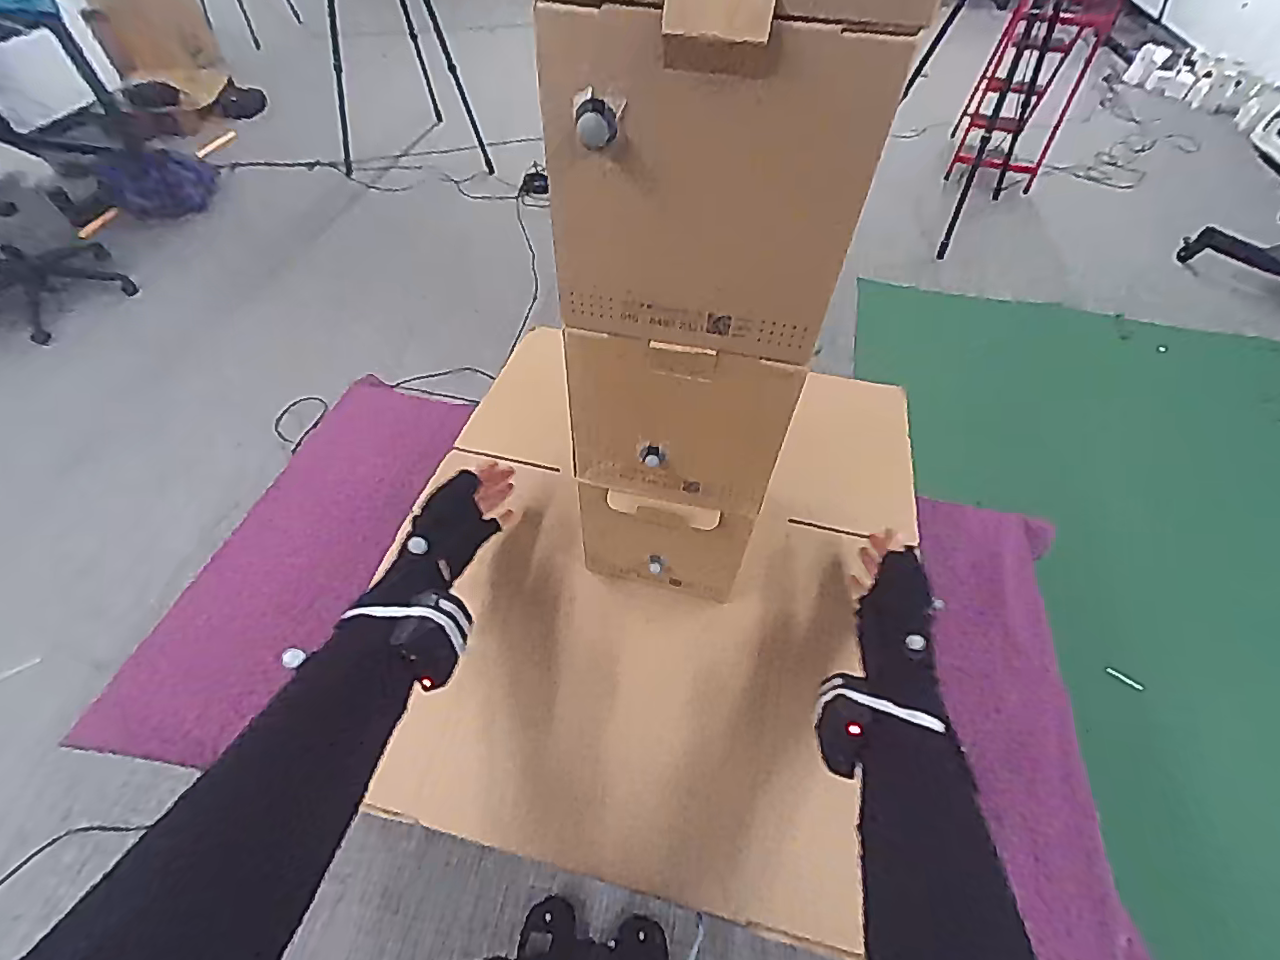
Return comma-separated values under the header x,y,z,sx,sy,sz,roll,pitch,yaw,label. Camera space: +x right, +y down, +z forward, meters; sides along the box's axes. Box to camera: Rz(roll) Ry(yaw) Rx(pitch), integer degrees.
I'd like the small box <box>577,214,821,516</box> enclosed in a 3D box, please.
x,y,z,sx,sy,sz,roll,pitch,yaw,label
0.049,-0.098,0.469,0.168,0.176,0.179,11,52,6,small box

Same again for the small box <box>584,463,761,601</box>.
x,y,z,sx,sy,sz,roll,pitch,yaw,label
0.043,0.004,0.595,0.168,0.176,0.179,12,52,8,small box
